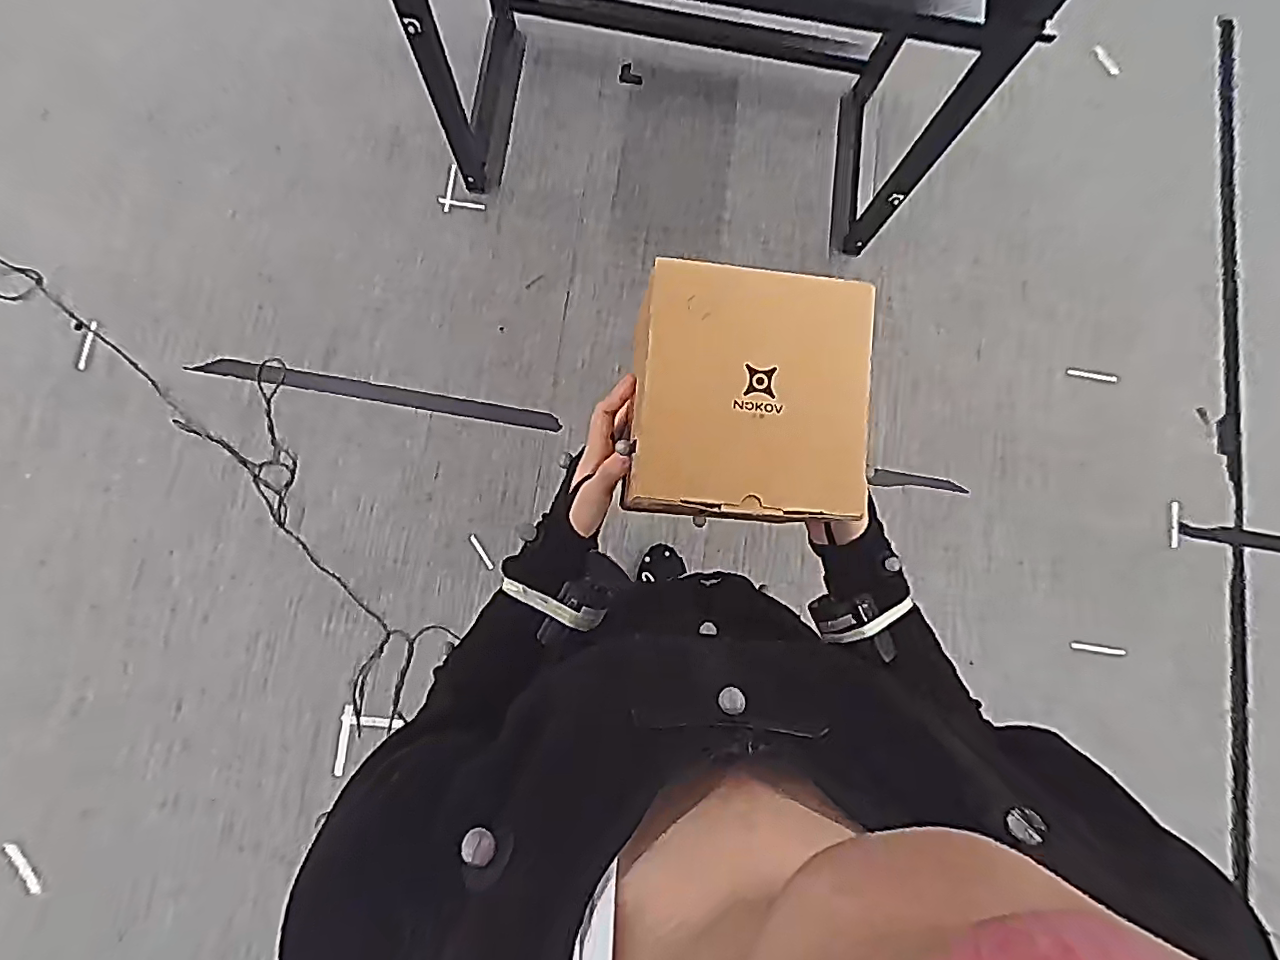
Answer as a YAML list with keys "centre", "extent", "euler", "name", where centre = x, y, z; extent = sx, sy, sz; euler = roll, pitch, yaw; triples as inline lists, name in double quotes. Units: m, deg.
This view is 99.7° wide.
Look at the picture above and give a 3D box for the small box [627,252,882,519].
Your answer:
- centre: [0.080, -0.061, 0.455]
  extent: [0.168, 0.176, 0.179]
  euler: [5, 86, -5]
  name: "small box"
